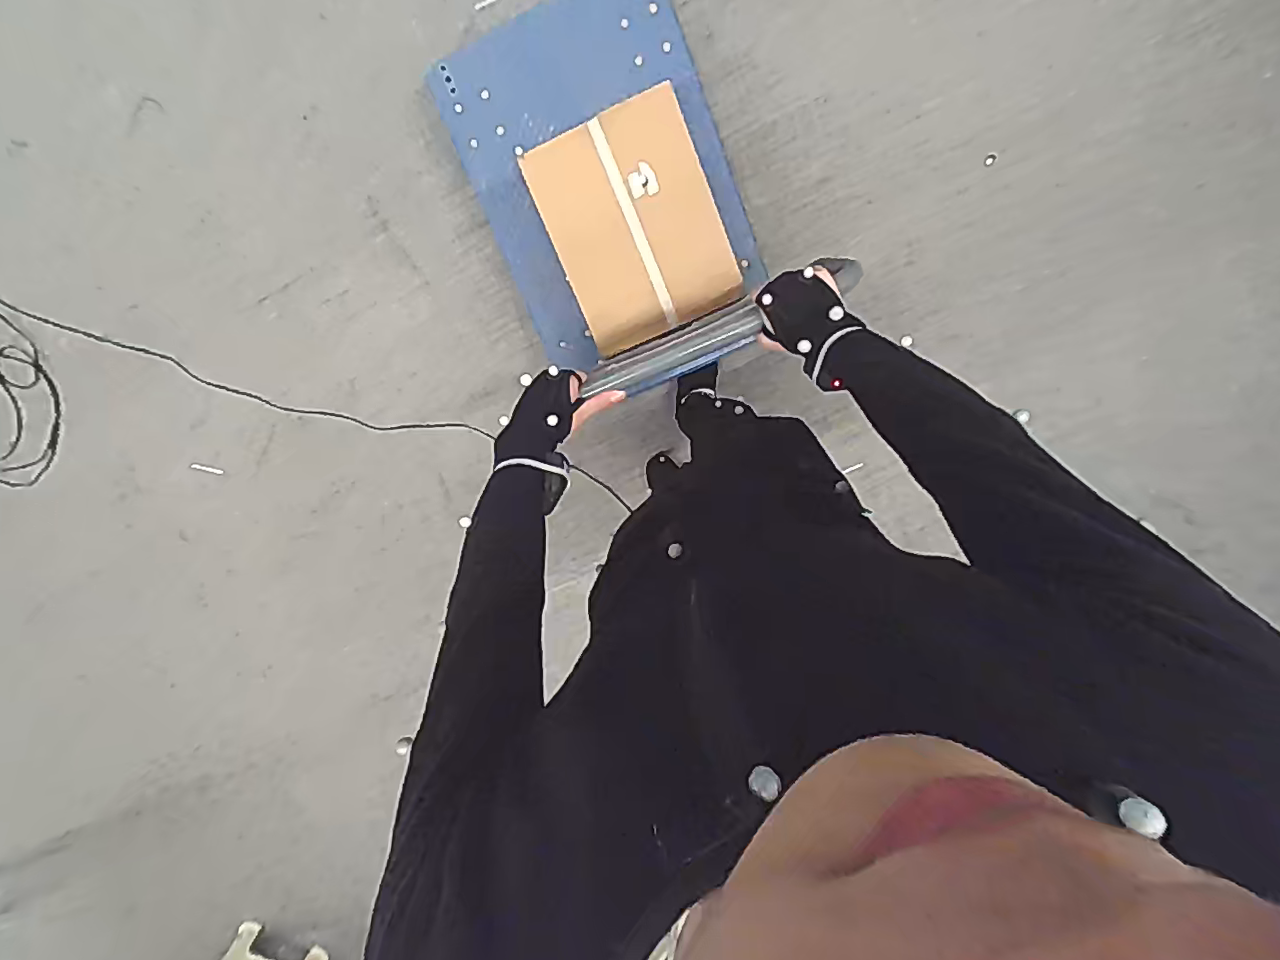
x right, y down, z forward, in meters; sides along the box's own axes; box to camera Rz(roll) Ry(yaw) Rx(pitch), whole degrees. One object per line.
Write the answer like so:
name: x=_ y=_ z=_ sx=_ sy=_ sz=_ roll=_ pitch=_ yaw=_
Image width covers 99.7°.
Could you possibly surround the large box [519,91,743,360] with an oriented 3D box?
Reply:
large box: x=-0.006 y=-0.512 z=1.188 sx=0.320 sy=0.320 sz=0.408 roll=-23 pitch=100 yaw=6
